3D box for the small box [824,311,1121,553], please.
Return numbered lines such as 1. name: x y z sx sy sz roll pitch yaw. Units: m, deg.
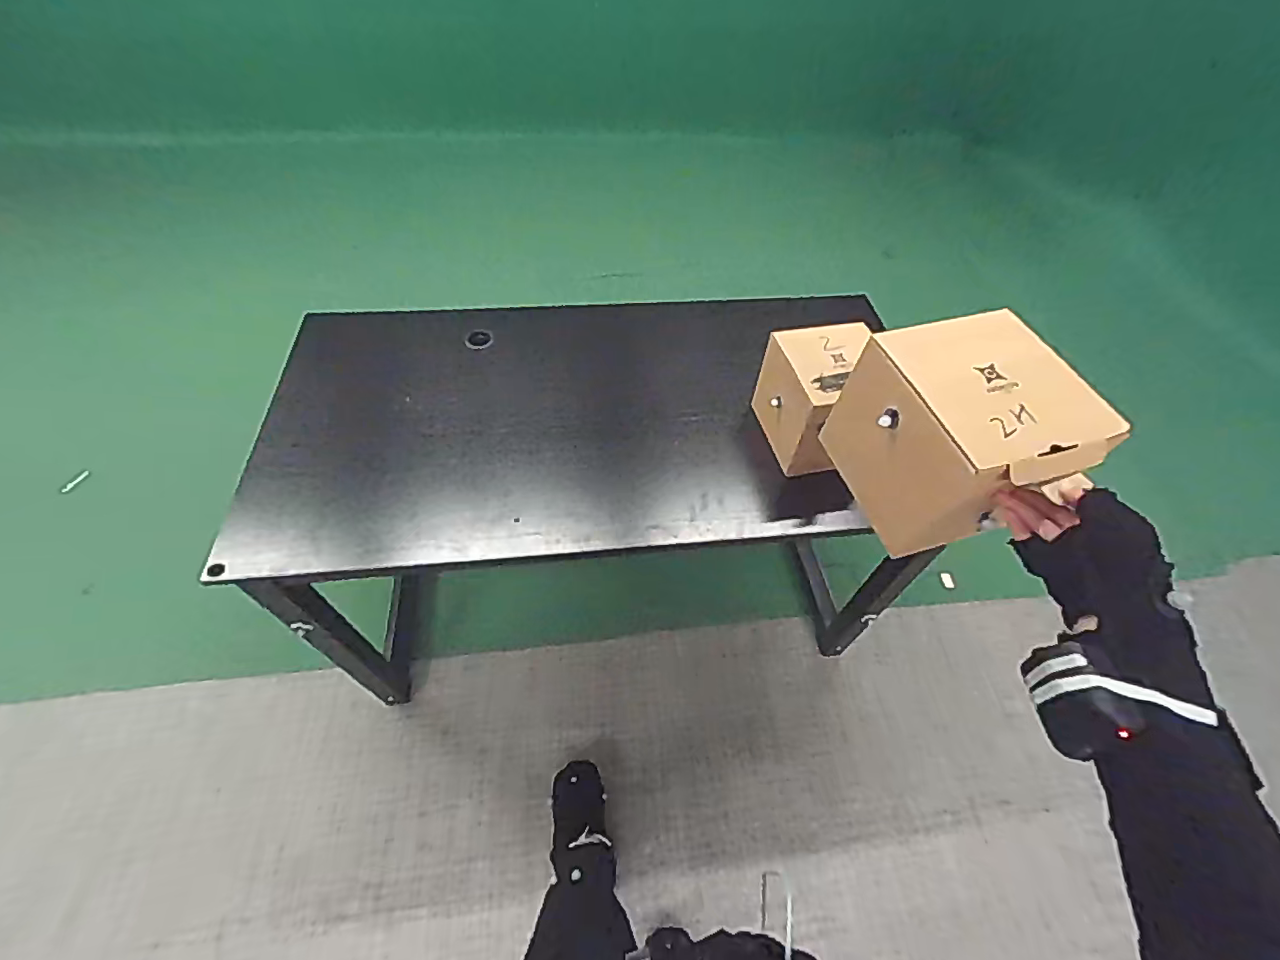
1. small box: 0.325 -0.048 0.577 0.168 0.176 0.179 -13 58 -11
